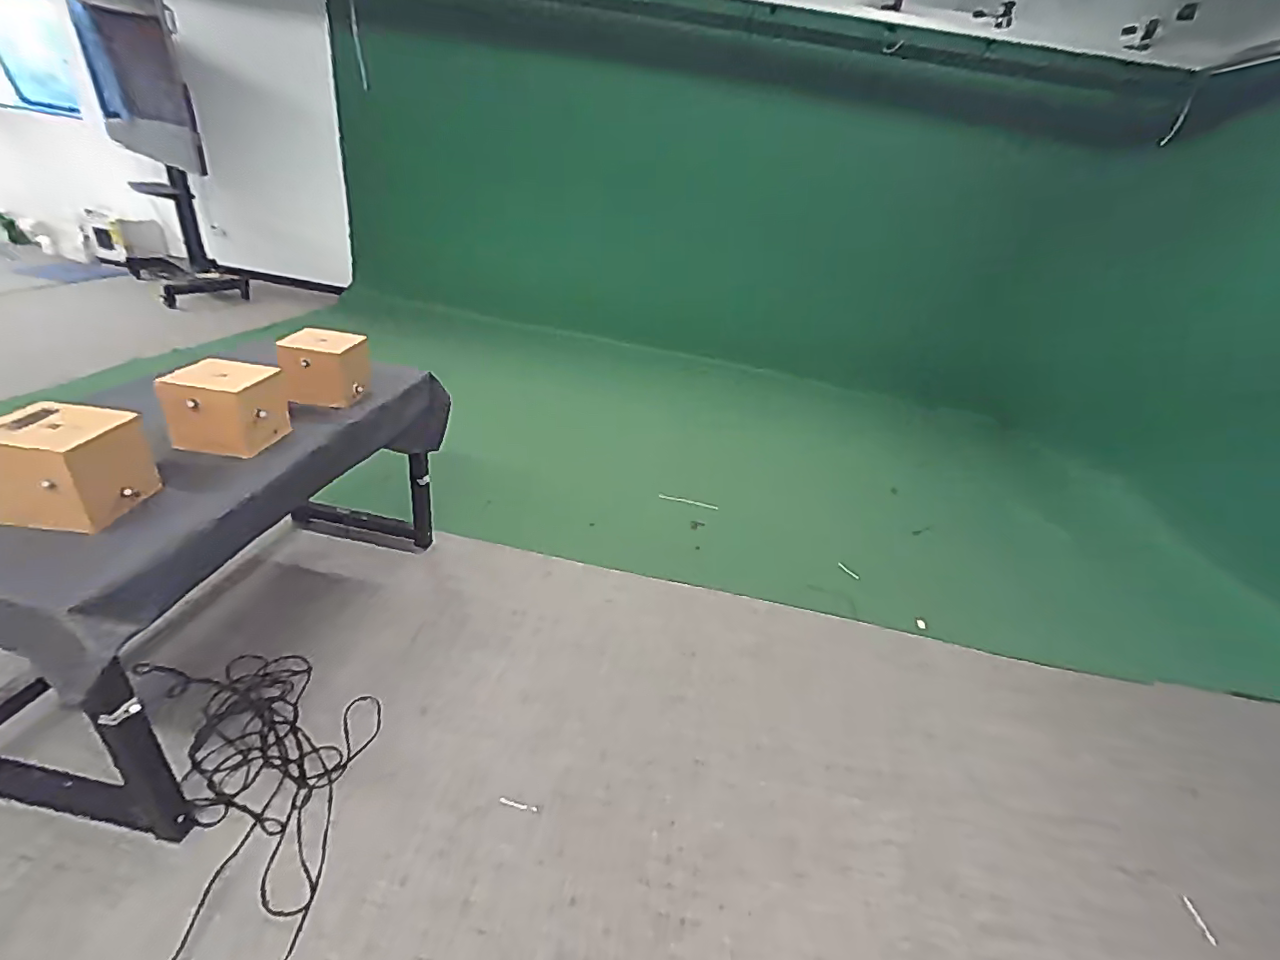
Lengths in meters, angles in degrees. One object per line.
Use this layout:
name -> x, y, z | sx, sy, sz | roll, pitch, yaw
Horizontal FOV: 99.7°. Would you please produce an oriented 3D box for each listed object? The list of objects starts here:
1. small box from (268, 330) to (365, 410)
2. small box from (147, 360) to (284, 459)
small box -> -0.909, -0.311, 1.537 | 0.179, 0.176, 0.168 | 8, 30, -4
small box -> -0.967, -0.162, 1.253 | 0.179, 0.176, 0.168 | 8, 29, -2
